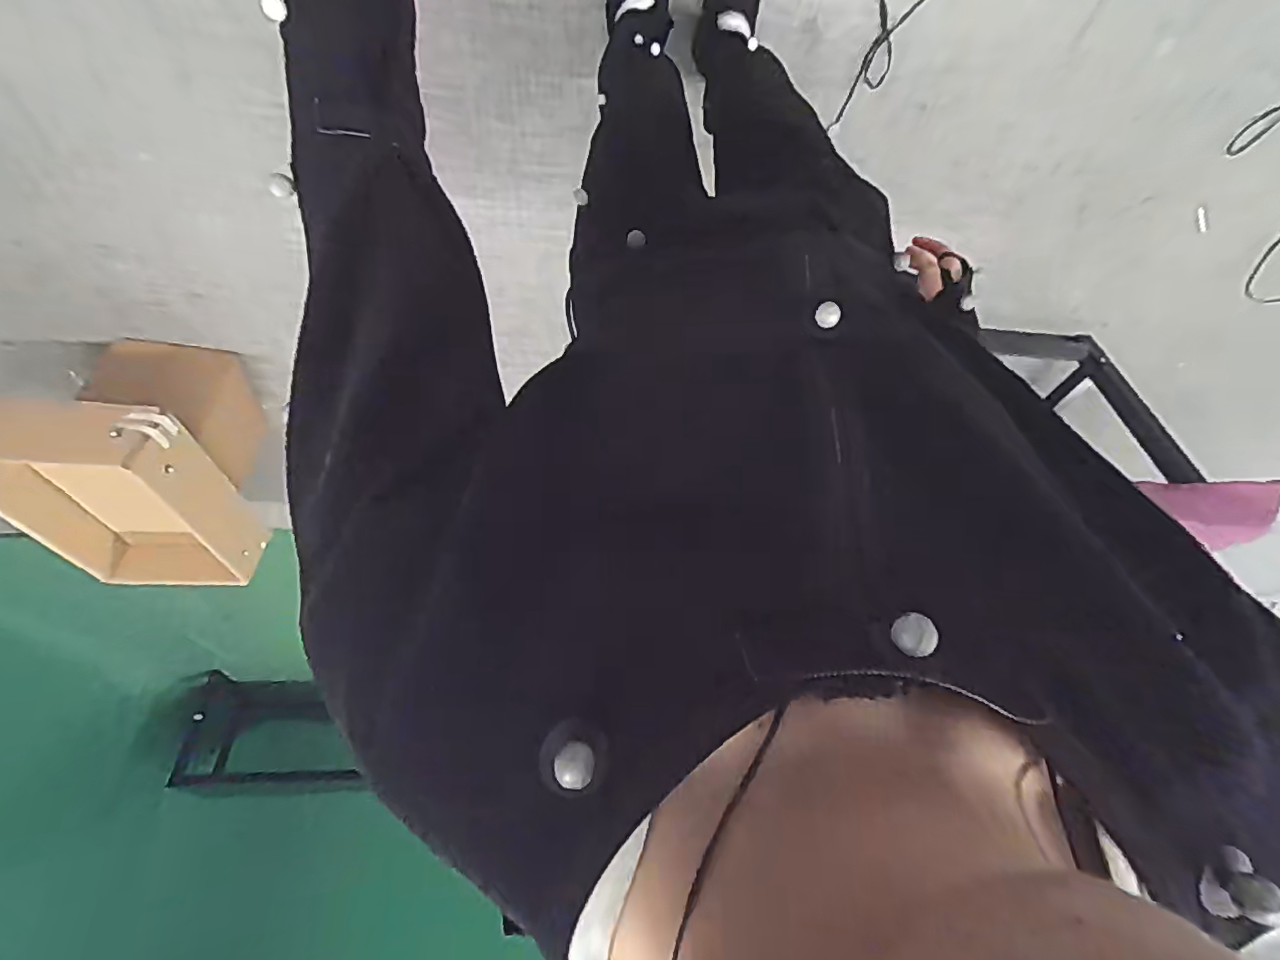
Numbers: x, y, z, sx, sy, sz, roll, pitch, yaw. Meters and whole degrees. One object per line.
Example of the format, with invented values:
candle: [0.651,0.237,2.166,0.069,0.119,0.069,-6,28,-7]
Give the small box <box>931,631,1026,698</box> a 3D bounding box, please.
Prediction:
small box: [1.086,0.601,1.757,0.168,0.176,0.179,6,143,-11]
